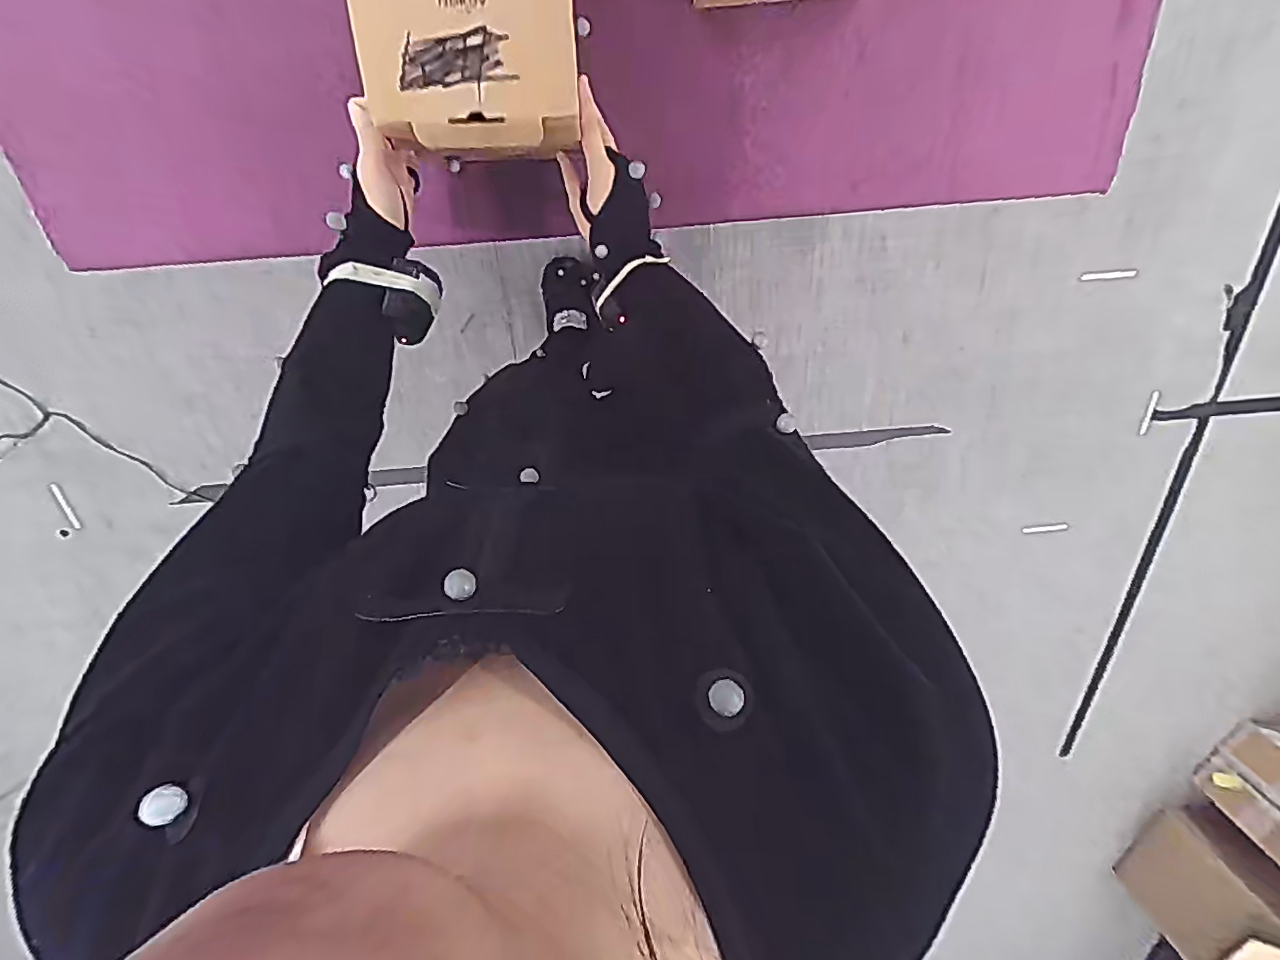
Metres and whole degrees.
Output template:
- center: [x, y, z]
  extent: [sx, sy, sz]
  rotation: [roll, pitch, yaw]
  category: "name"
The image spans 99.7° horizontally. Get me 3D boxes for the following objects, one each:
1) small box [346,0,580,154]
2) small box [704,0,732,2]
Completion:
- center: [-0.141, -0.395, 0.473]
  extent: [0.168, 0.176, 0.179]
  rotation: [-4, 113, -4]
  category: "small box"
- center: [0.139, -0.526, 0.439]
  extent: [0.179, 0.176, 0.168]
  rotation: [-7, 116, -2]
  category: "small box"
